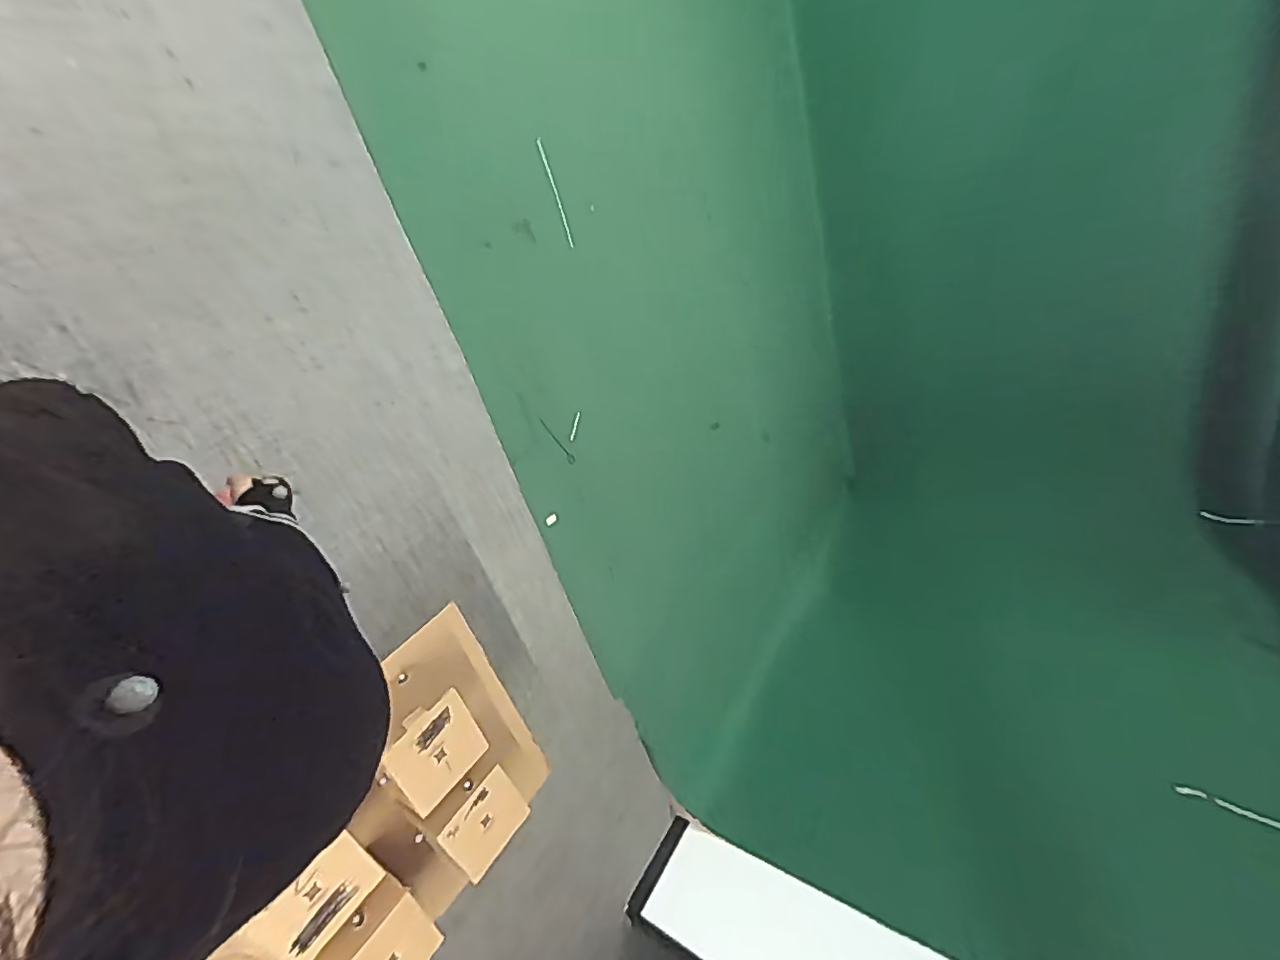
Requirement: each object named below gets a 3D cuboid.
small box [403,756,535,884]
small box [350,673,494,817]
[{"bbox_3d":[-0.363,0.697,1.152,0.168,0.176,0.179,-45,126,-40],"label":"small box"},{"bbox_3d":[-0.428,0.505,1.061,0.168,0.176,0.179,-41,123,-41],"label":"small box"}]
